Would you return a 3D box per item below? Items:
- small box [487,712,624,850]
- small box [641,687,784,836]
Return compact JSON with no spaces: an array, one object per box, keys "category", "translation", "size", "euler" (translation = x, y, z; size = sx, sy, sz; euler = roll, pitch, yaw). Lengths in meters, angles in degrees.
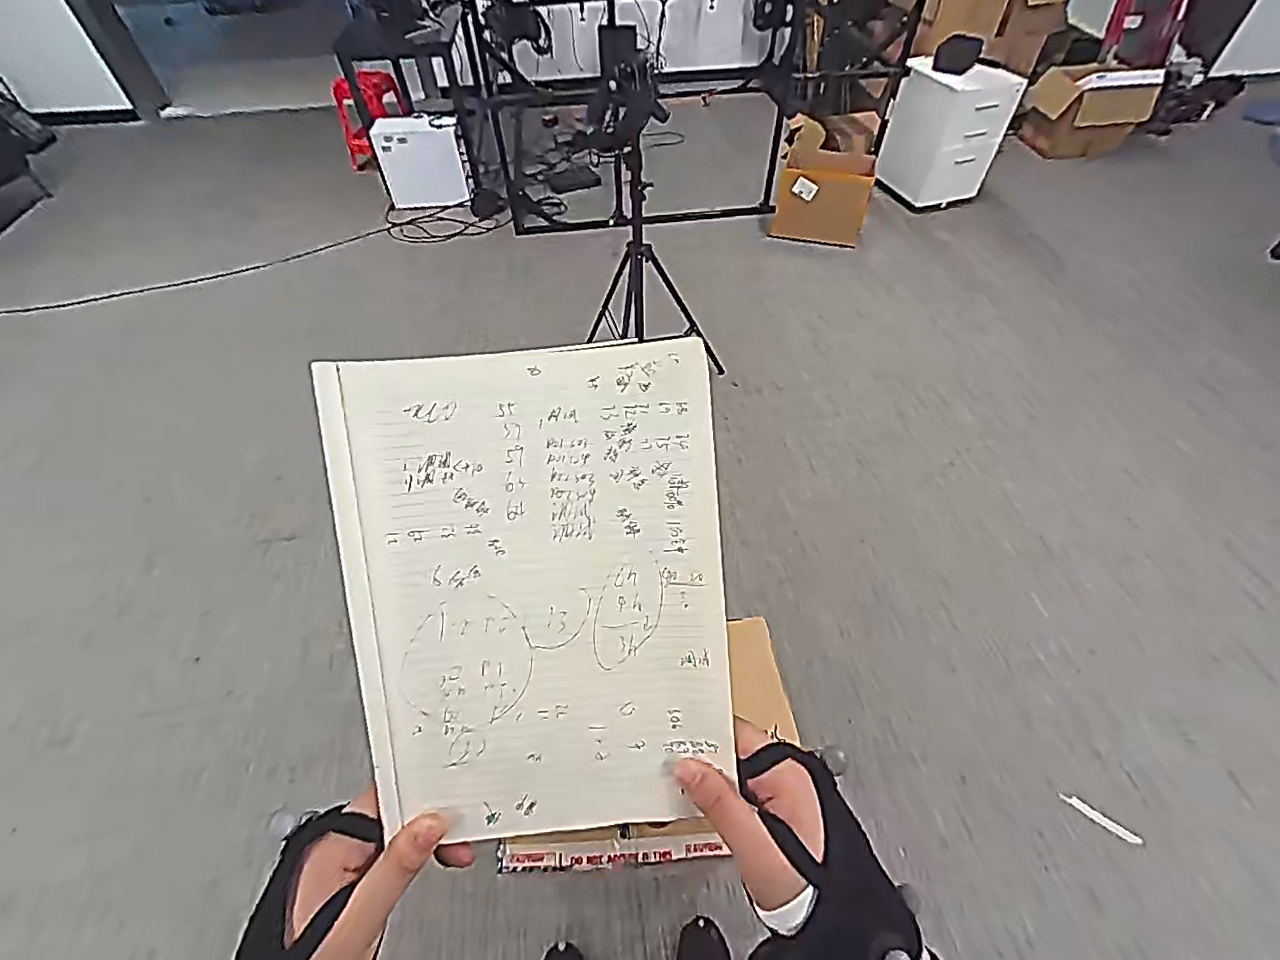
[{"category":"small box","translation":[-0.115,0.461,0.827],"size":[0.179,0.176,0.168],"euler":[-2,53,2]},{"category":"small box","translation":[0.100,0.439,0.841],"size":[0.179,0.176,0.168],"euler":[-7,52,-6]}]
